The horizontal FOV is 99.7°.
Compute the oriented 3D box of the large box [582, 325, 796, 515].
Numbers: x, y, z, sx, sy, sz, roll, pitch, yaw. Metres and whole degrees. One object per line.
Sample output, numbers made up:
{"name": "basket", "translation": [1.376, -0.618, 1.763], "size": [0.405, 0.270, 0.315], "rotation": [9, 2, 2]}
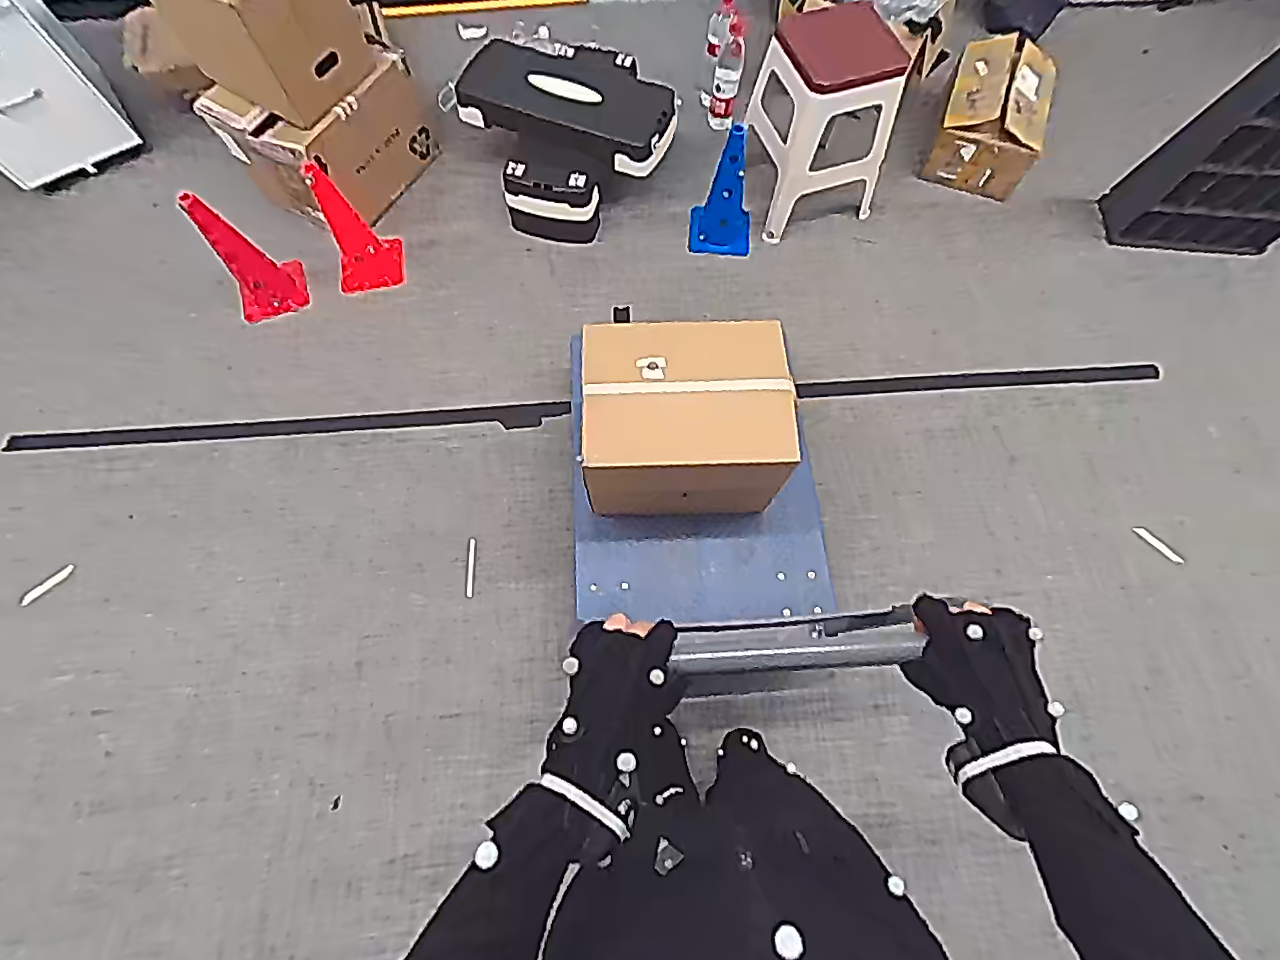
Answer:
{"name": "large box", "translation": [0.088, -0.115, 1.189], "size": [0.408, 0.320, 0.320], "rotation": [-2, 69, 0]}
